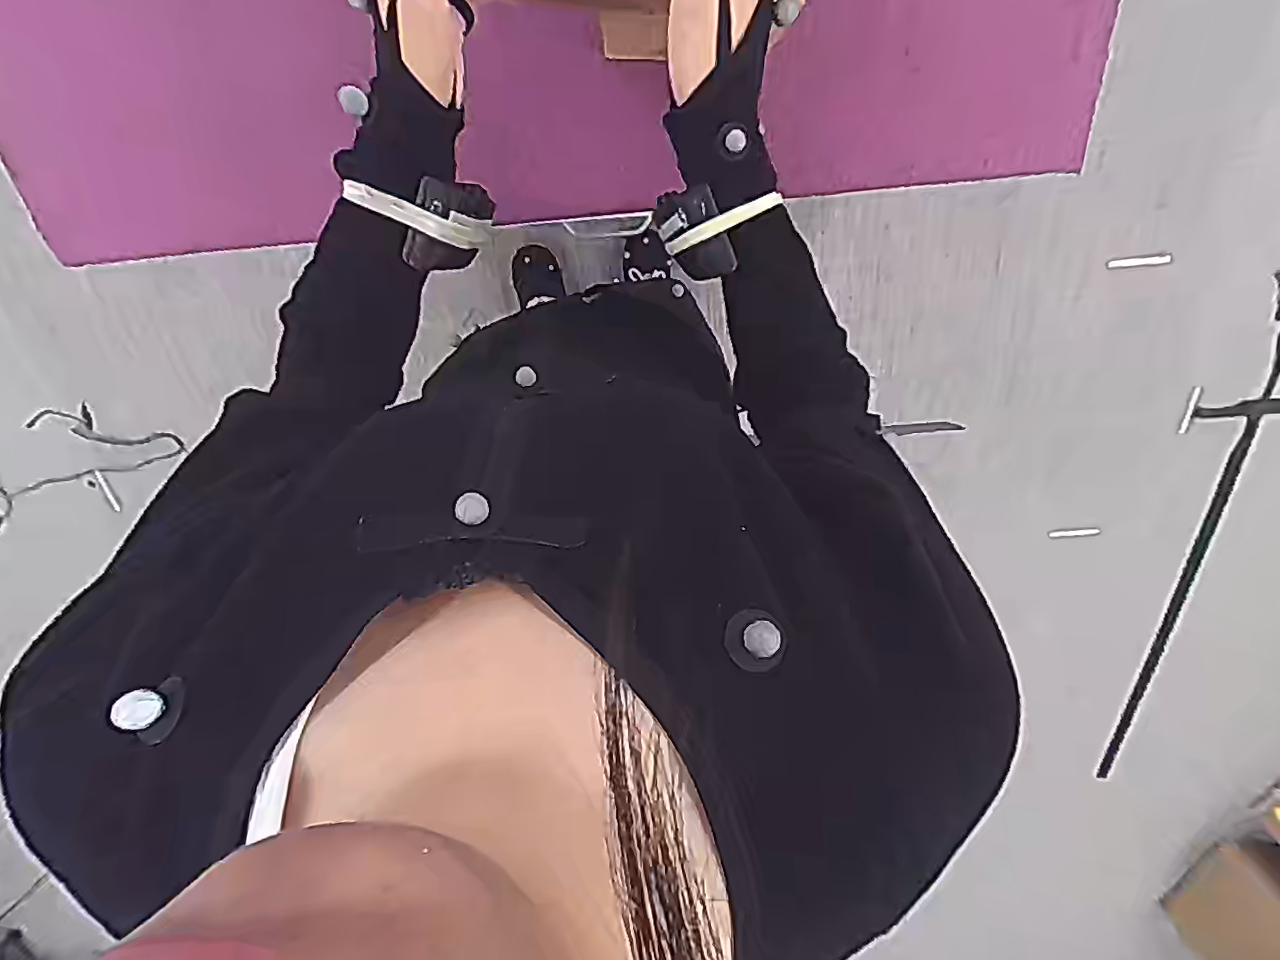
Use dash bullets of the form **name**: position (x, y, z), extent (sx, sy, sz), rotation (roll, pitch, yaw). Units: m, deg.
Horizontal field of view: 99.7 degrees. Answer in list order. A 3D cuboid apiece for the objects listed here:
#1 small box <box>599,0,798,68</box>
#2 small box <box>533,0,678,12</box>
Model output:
- **small box**: position (0.046, -0.488, 0.465), extent (0.168, 0.176, 0.179), rotation (2, 115, -1)
- **small box**: position (-0.041, -0.408, 0.318), extent (0.179, 0.176, 0.168), rotation (4, 117, -2)
